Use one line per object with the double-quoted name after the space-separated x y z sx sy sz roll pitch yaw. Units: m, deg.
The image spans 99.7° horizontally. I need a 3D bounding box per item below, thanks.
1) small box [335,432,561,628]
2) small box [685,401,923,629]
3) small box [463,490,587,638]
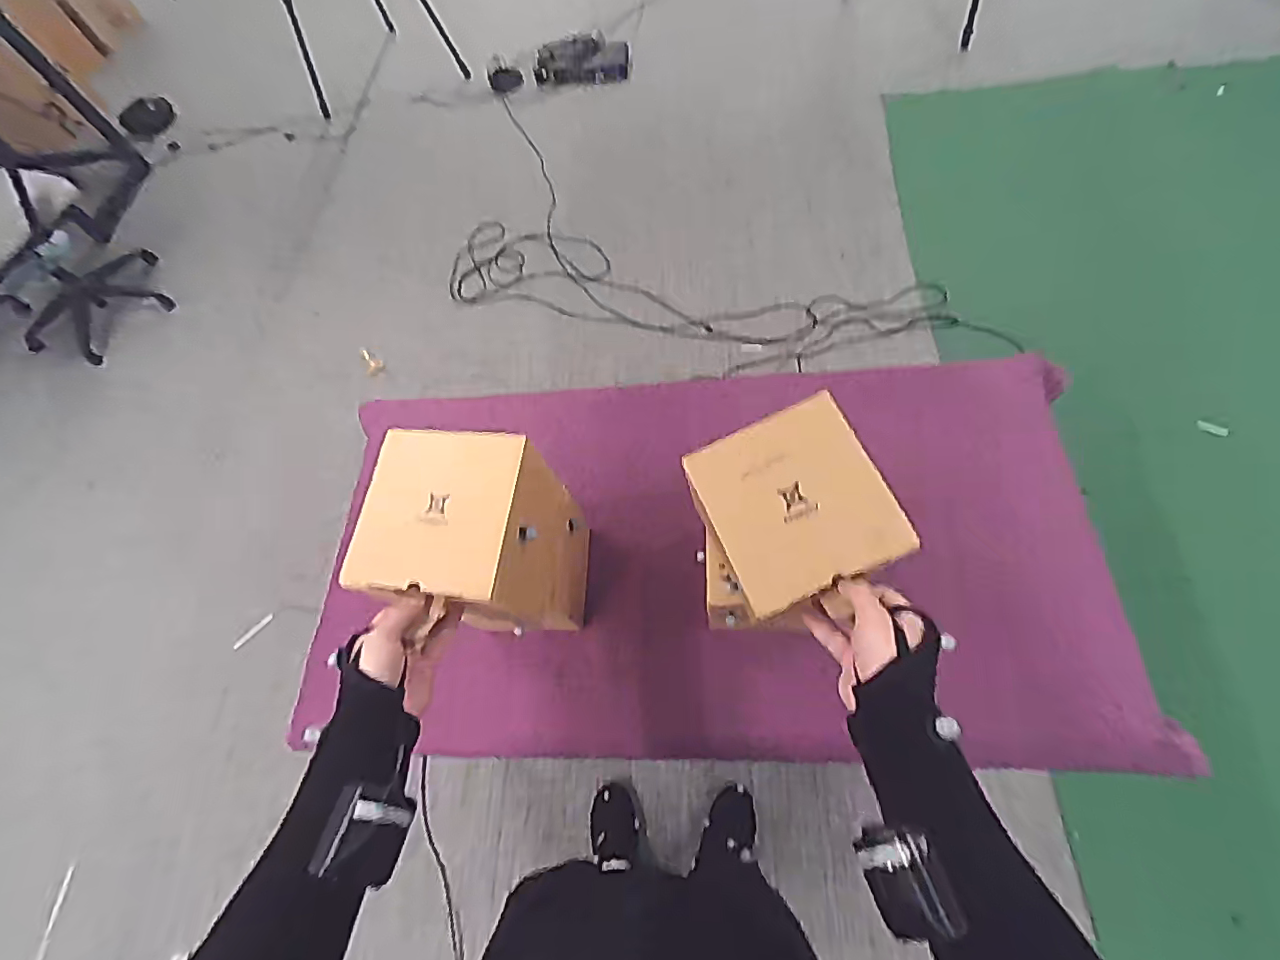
-0.198 0.063 0.618 0.168 0.176 0.179 3 69 10 "small box"
0.163 0.049 0.585 0.168 0.176 0.179 -24 70 1 "small box"
-0.179 0.127 0.801 0.168 0.176 0.179 -1 64 8 "small box"
